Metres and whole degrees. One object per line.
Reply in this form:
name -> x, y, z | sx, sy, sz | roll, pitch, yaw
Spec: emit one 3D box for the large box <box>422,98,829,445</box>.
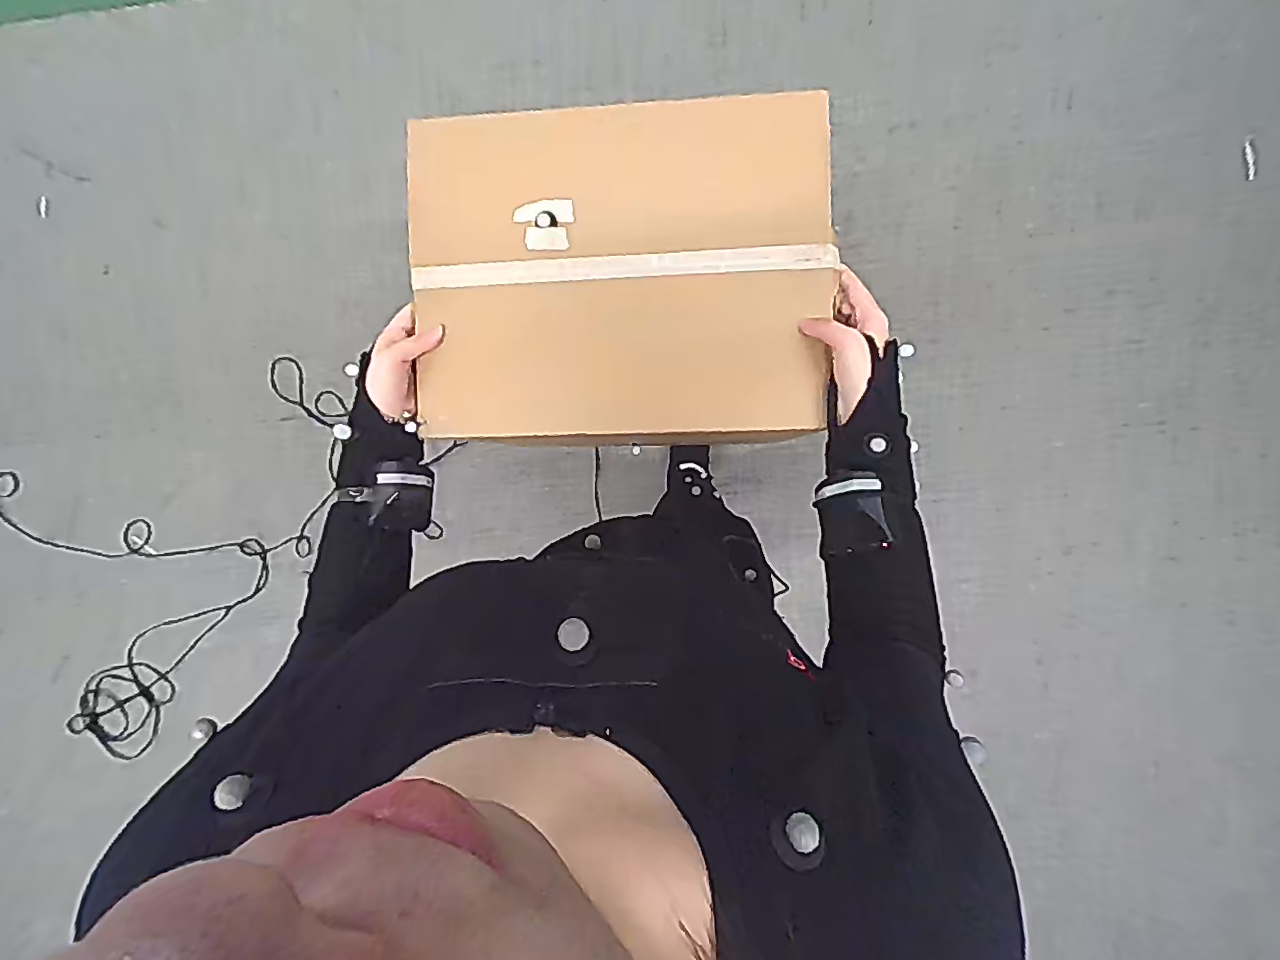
large box -> -0.004, -0.207, 0.682 | 0.408, 0.320, 0.320 | -1, 91, 6
